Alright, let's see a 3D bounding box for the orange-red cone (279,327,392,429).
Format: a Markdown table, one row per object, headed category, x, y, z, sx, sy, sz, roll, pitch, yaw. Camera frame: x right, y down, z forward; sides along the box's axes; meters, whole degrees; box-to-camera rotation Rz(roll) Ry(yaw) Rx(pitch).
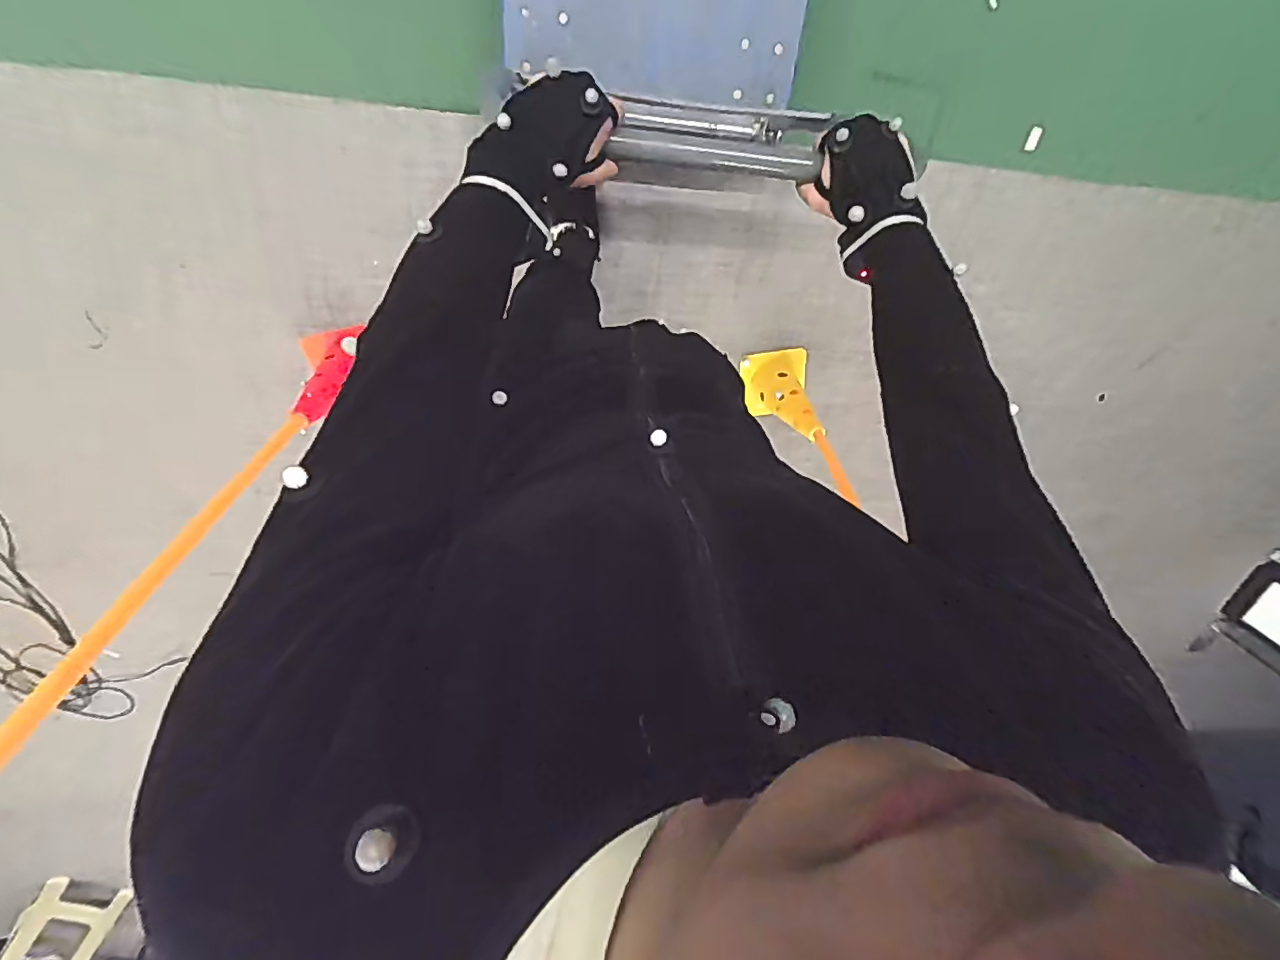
| category | x | y | z | sx | sy | sz | roll | pitch | yaw |
| --- | --- | --- | --- | --- | --- | --- | --- | --- | --- |
| orange-red cone | -0.764 | -0.212 | 1.292 | 0.199 | 0.360 | 0.198 | -11 | 122 | 0 |
